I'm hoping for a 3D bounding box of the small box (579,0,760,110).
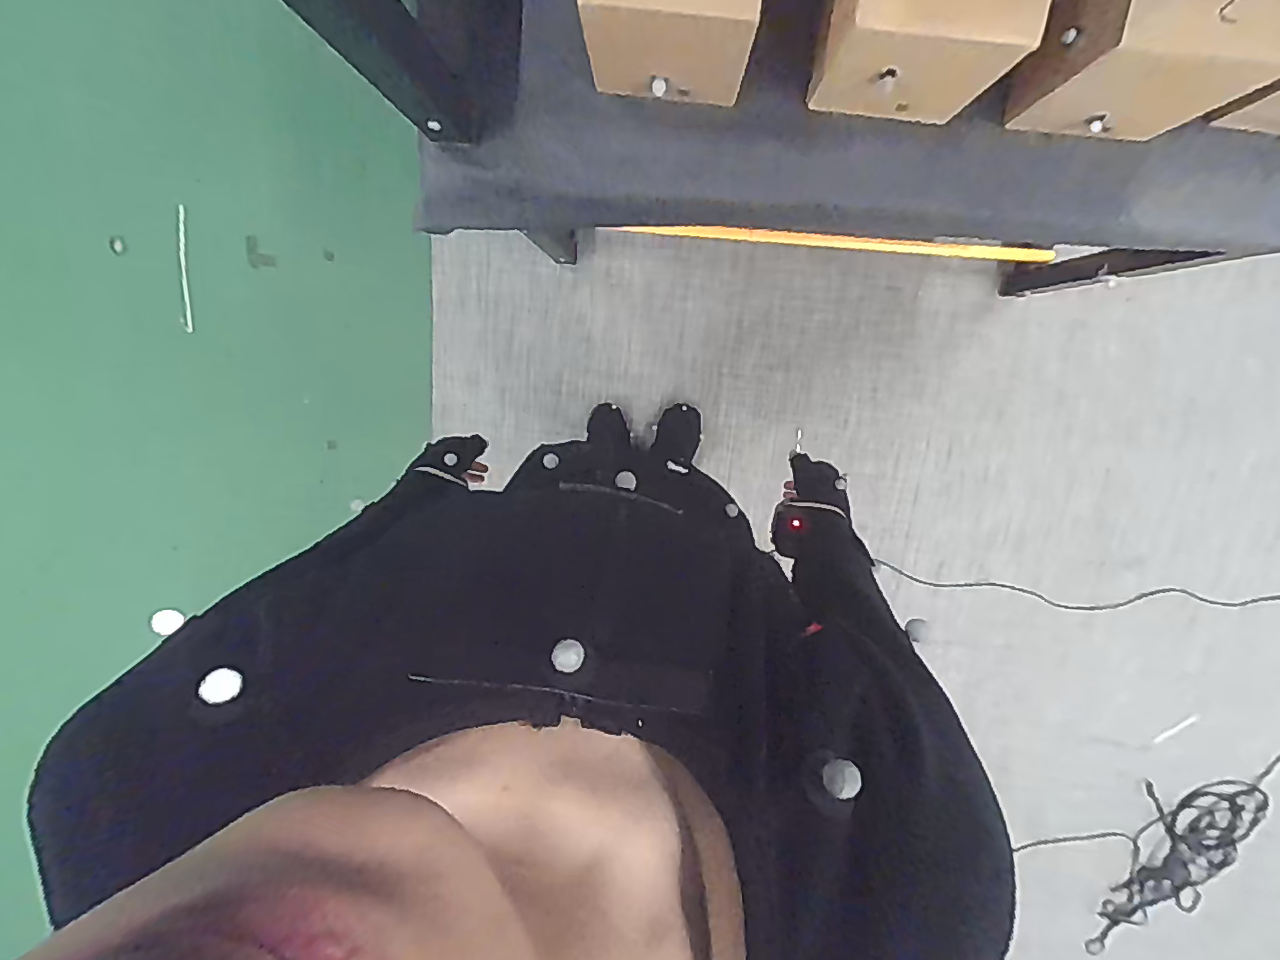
[{"bbox_3d":[0.036,-0.514,0.543,0.168,0.176,0.179,7,103,1],"label":"small box"}]

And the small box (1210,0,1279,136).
[{"bbox_3d":[0.732,-0.455,0.524,0.168,0.176,0.179,8,101,1],"label":"small box"}]

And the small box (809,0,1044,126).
[{"bbox_3d":[0.280,-0.487,0.540,0.168,0.176,0.179,7,102,1],"label":"small box"}]
